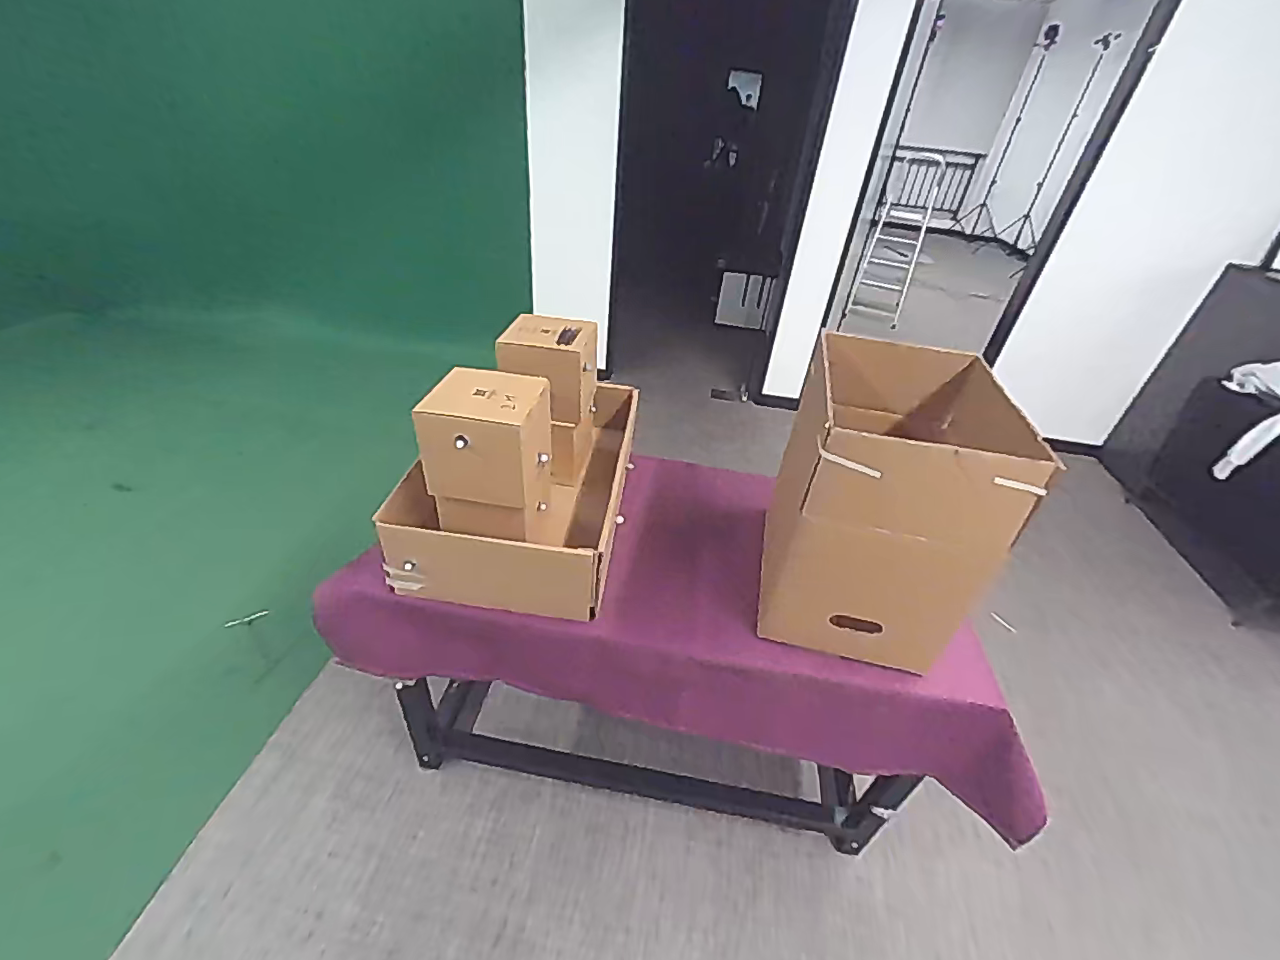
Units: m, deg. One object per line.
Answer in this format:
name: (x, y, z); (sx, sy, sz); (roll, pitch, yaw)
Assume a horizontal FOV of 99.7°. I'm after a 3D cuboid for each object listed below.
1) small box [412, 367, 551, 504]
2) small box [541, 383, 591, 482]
small box: (-0.262, -0.077, 0.939); (0.179, 0.176, 0.168); (9, 38, 4)
small box: (-0.213, -0.114, 1.273); (0.168, 0.176, 0.179); (9, 37, 5)
